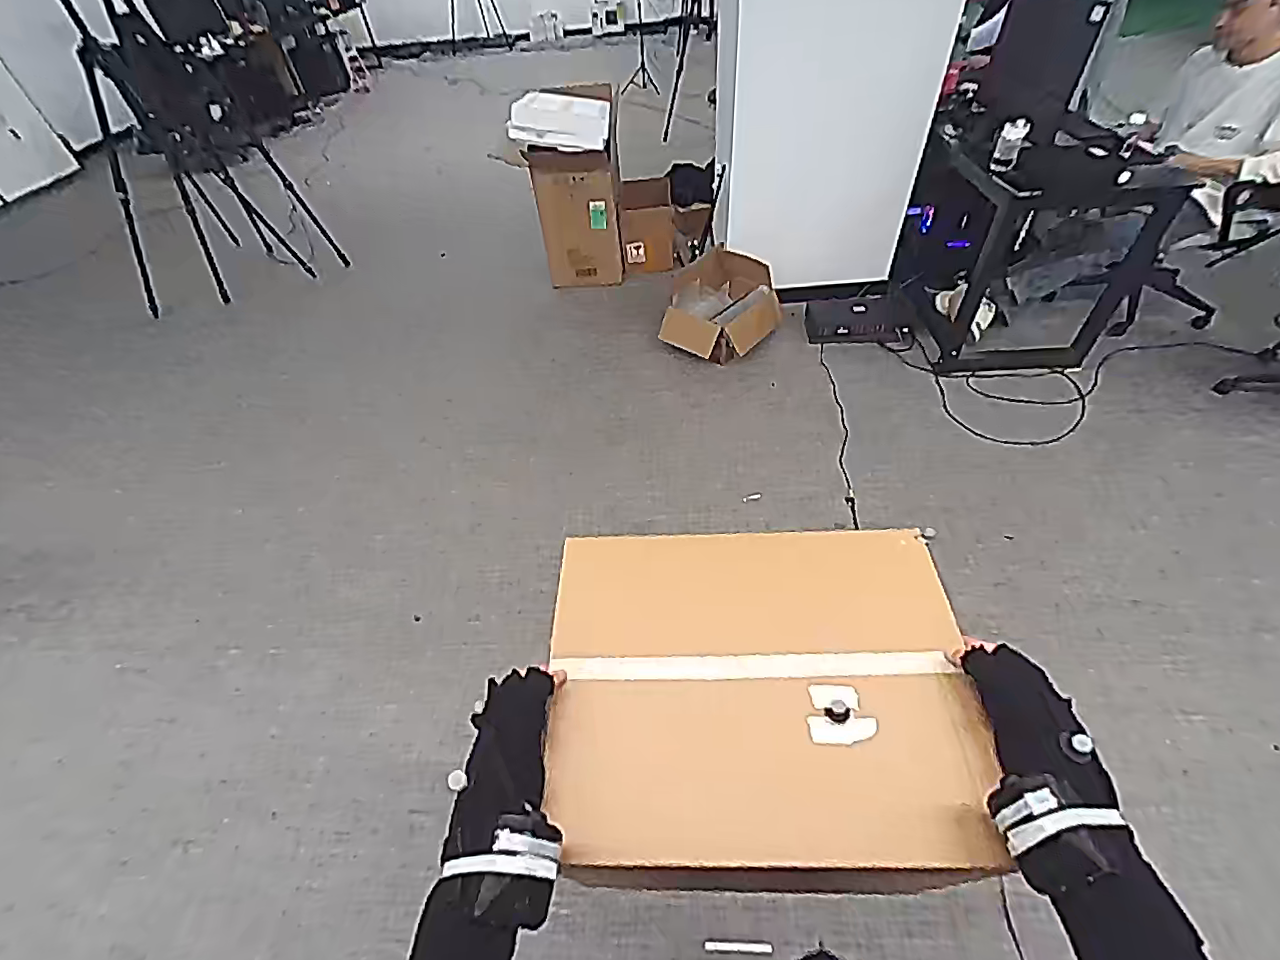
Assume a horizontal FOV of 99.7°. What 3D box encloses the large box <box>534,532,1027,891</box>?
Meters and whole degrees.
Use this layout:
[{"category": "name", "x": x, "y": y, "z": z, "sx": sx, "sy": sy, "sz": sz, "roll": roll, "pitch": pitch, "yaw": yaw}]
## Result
[{"category": "large box", "x": 0.116, "y": 0.280, "z": 0.640, "sx": 0.408, "sy": 0.320, "sz": 0.320, "roll": -2, "pitch": 50, "yaw": 3}]
